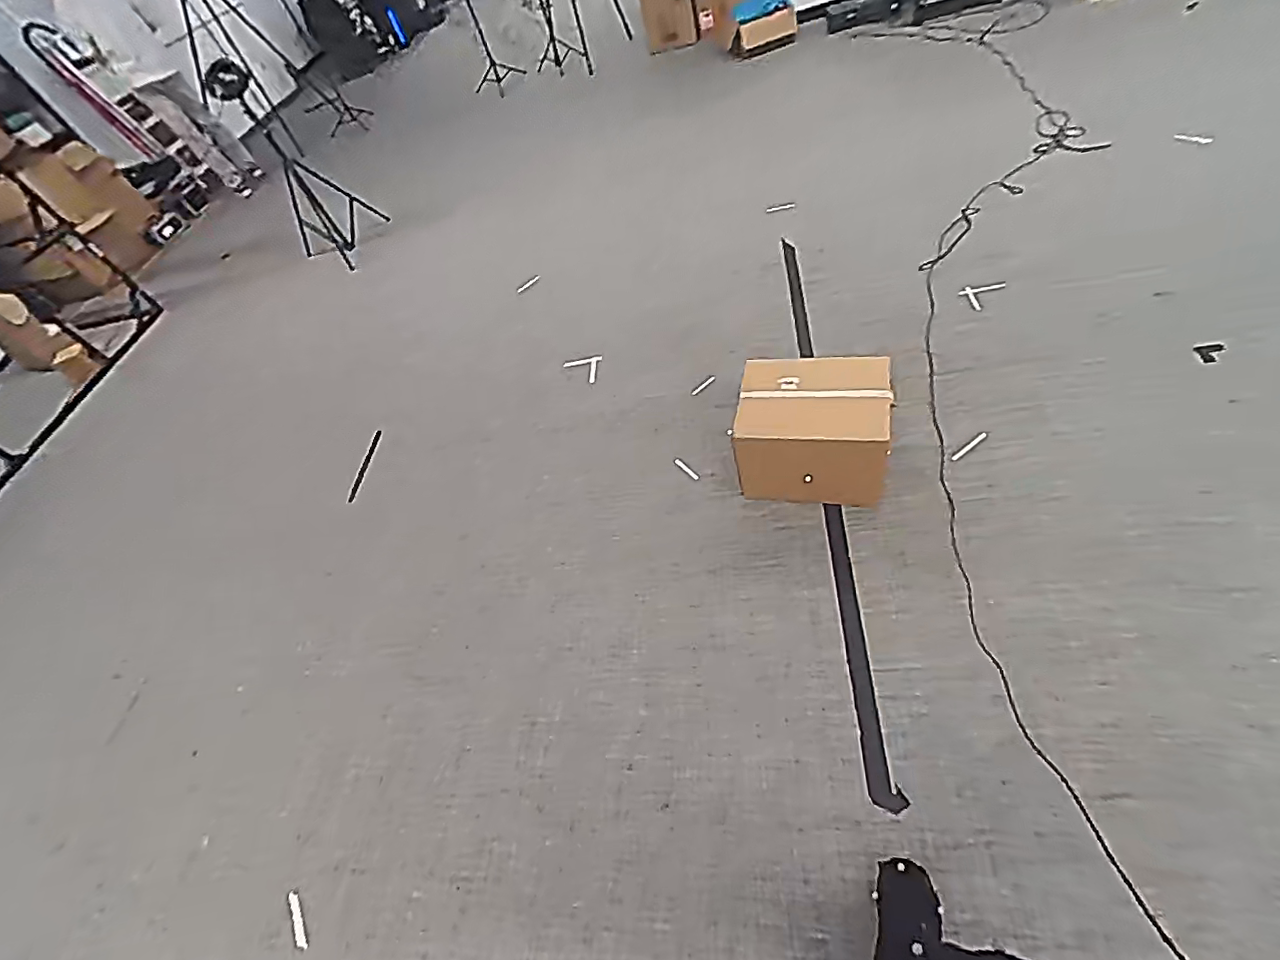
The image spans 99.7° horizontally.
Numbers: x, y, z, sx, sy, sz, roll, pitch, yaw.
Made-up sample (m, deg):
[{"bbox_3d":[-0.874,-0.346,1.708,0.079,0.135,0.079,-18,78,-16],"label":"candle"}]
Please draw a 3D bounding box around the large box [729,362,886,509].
[{"bbox_3d":[0.509,-0.127,1.617,0.408,0.320,0.320,2,54,22],"label":"large box"}]
